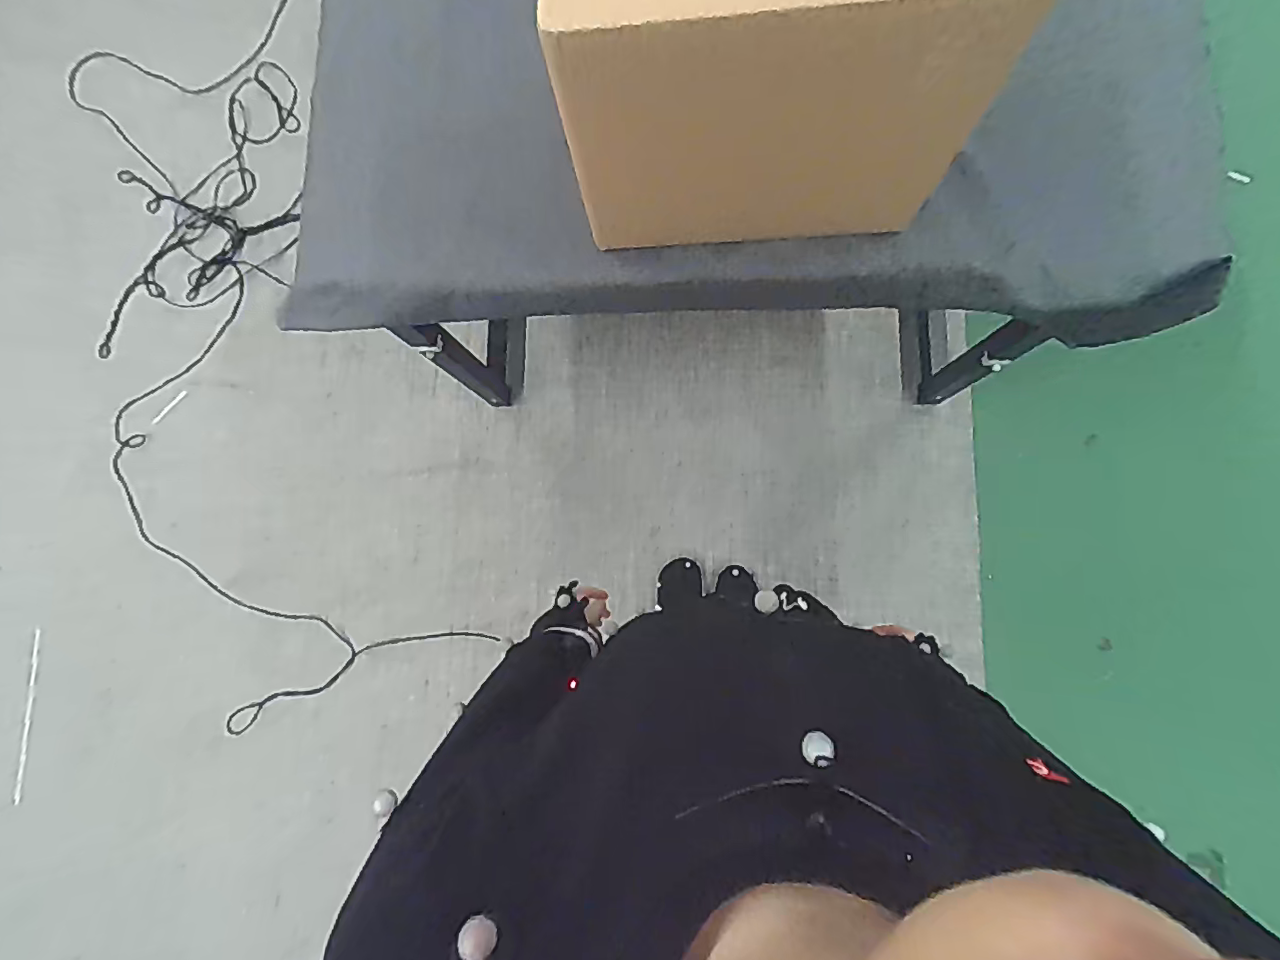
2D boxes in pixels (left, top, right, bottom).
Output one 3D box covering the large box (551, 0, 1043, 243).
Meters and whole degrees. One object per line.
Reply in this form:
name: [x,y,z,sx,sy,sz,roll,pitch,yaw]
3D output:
large box: [0.127,-0.496,0.590,0.408,0.320,0.320,-2,82,3]
